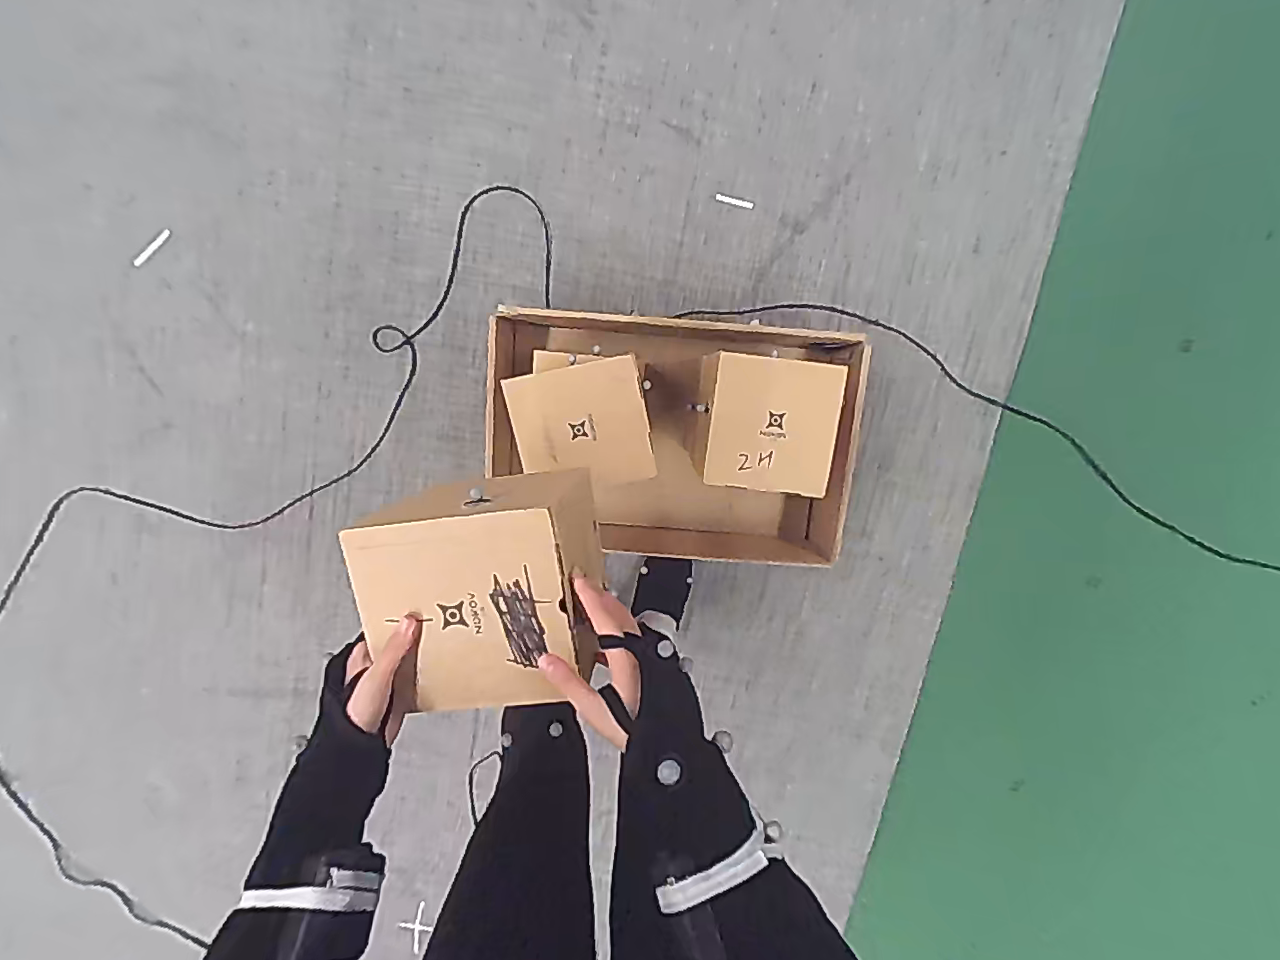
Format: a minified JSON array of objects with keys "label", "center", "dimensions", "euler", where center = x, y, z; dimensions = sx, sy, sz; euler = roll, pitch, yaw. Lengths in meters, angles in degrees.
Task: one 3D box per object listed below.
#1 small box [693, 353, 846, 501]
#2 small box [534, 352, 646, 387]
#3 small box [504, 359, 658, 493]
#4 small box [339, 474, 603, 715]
[{"label":"small box","center":[0.172,-0.080,0.778],"dimensions":[0.168,0.176,0.179],"euler":[7,101,-1]},{"label":"small box","center":[-0.086,-0.128,0.938],"dimensions":[0.179,0.176,0.168],"euler":[5,102,-2]},{"label":"small box","center":[-0.077,-0.079,0.782],"dimensions":[0.179,0.176,0.168],"euler":[-11,102,1]},{"label":"small box","center":[-0.137,0.095,0.513],"dimensions":[0.179,0.176,0.168],"euler":[-7,101,8]}]
